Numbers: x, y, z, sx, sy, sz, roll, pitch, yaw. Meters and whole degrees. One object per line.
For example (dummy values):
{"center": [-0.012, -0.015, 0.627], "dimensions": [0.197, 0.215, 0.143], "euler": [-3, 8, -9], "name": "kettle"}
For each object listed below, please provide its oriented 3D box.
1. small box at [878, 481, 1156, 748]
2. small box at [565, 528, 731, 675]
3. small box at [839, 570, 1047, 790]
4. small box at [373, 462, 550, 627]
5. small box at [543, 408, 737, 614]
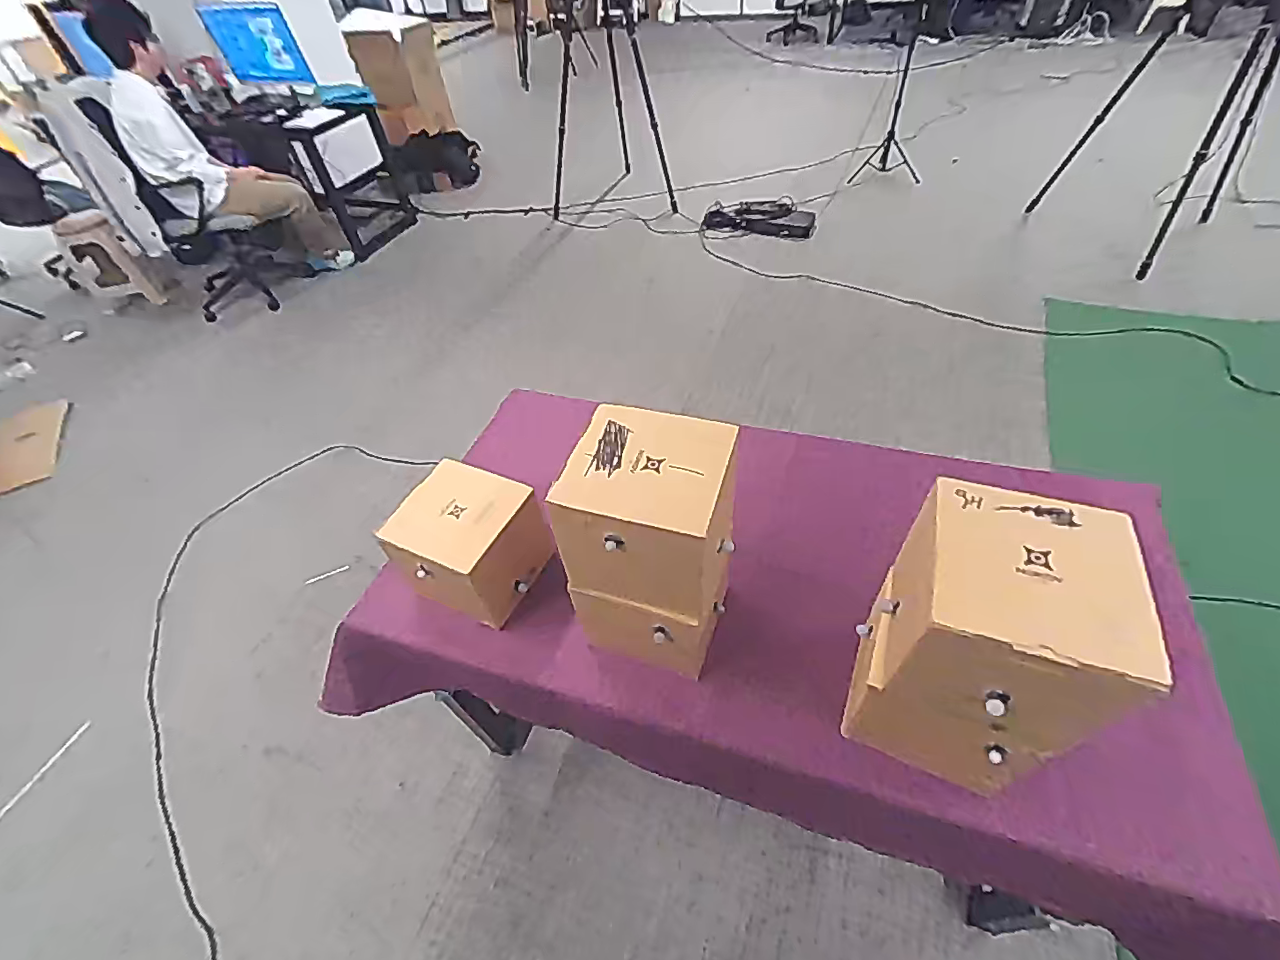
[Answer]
{"center": [0.345, 0.134, 0.532], "dimensions": [0.168, 0.176, 0.179], "euler": [14, 52, 17], "name": "small box"}
{"center": [0.019, 0.154, 0.769], "dimensions": [0.179, 0.176, 0.168], "euler": [14, 50, 17], "name": "small box"}
{"center": [0.355, 0.243, 0.655], "dimensions": [0.179, 0.176, 0.168], "euler": [17, 52, 20], "name": "small box"}
{"center": [-0.266, 0.103, 0.847], "dimensions": [0.179, 0.176, 0.168], "euler": [18, 53, 20], "name": "small box"}
{"center": [0.009, 0.039, 0.651], "dimensions": [0.179, 0.176, 0.168], "euler": [12, 51, 15], "name": "small box"}
